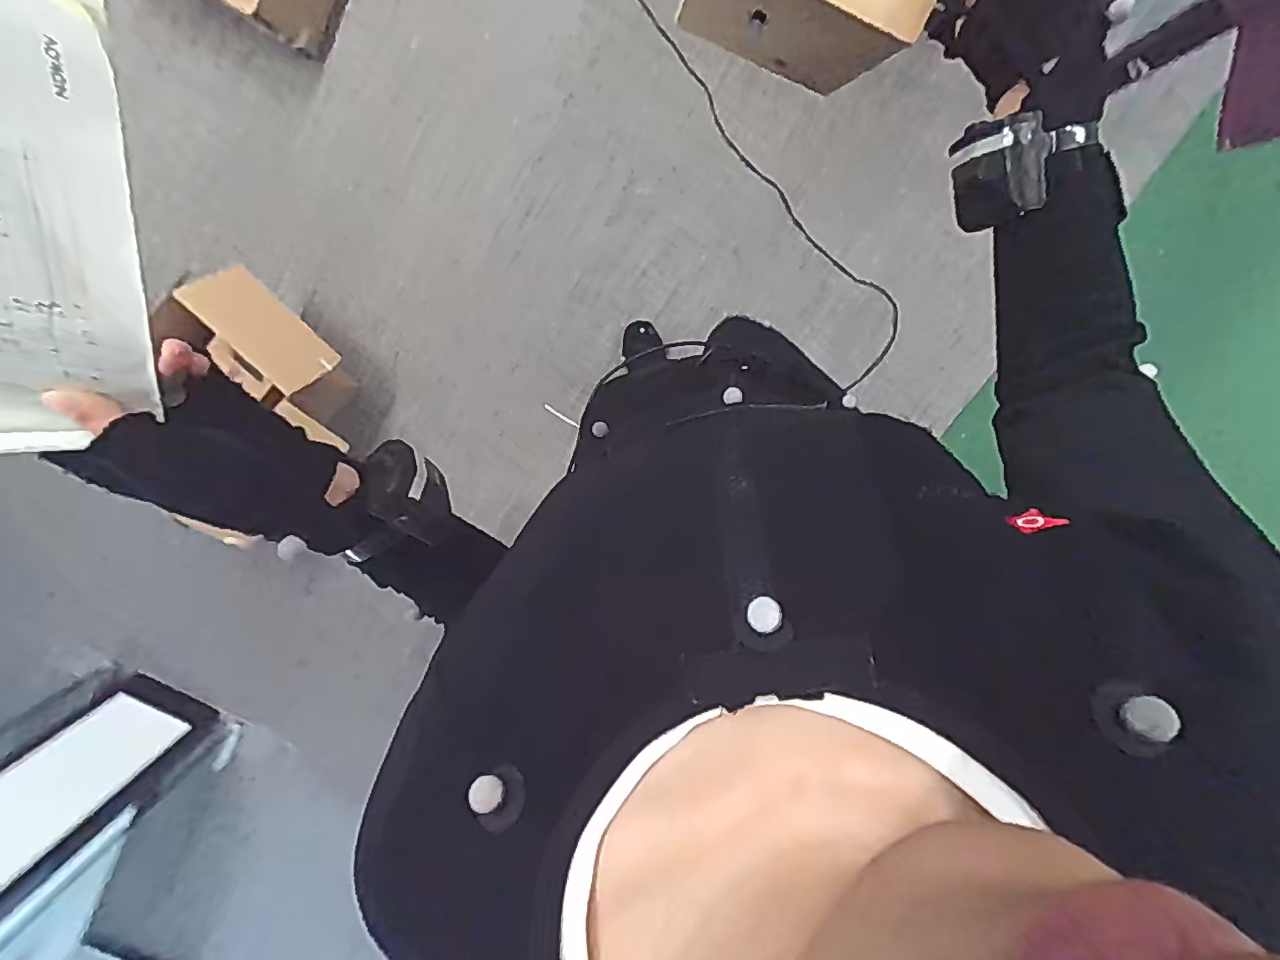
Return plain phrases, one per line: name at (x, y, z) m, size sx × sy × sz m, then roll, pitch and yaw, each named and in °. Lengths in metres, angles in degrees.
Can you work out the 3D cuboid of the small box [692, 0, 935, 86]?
small box at (0.147, -0.443, 0.411) m, size 0.168 × 0.176 × 0.179 m, roll 17°, pitch 111°, yaw -11°
